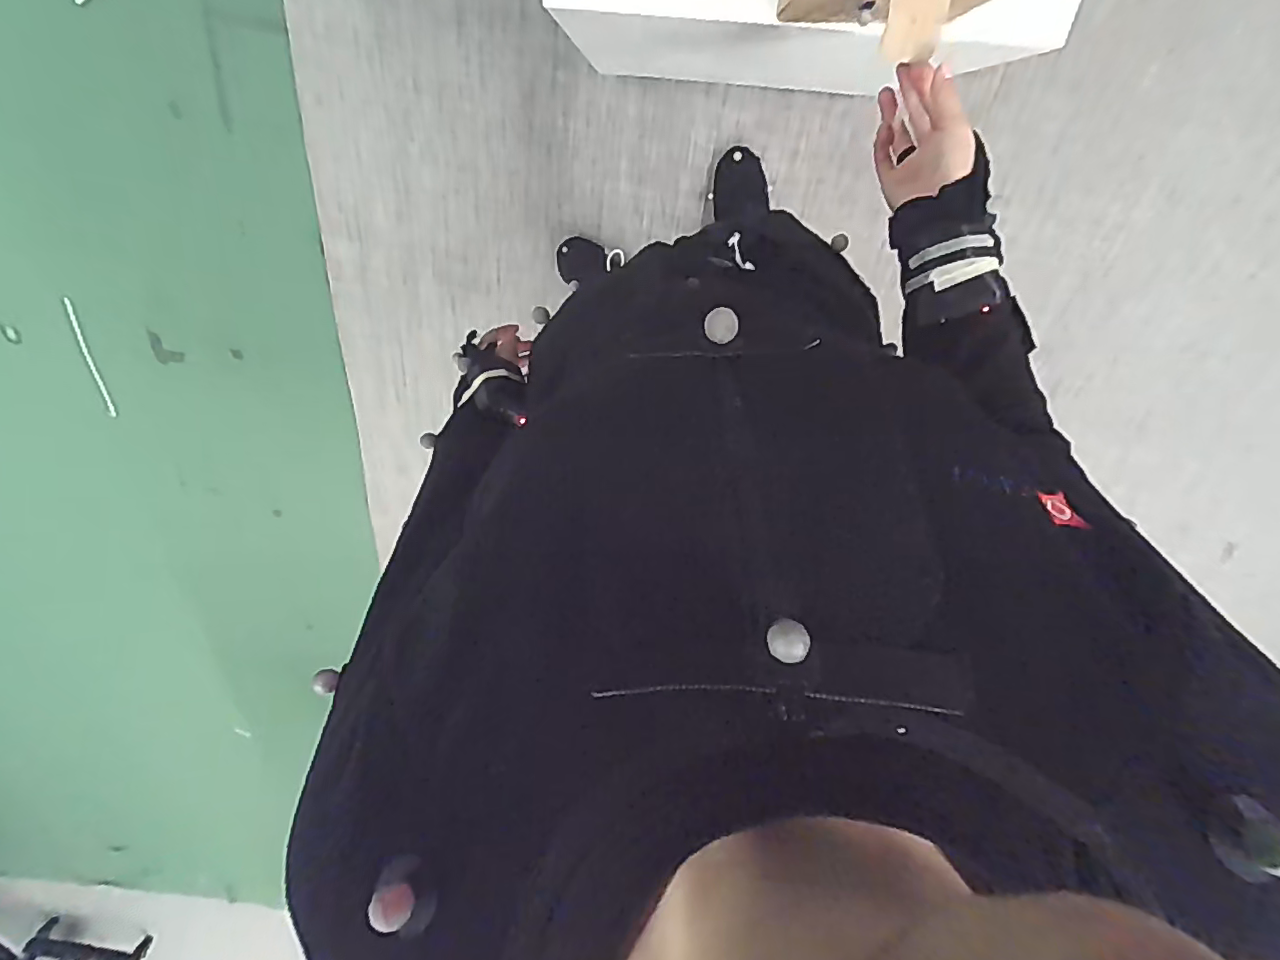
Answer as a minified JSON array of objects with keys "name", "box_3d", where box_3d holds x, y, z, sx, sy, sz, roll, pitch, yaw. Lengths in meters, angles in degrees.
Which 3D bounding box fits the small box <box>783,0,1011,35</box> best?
[{"name":"small box","box_3d":[0.213,-0.468,0.408,0.168,0.176,0.179,2,120,1]}]
